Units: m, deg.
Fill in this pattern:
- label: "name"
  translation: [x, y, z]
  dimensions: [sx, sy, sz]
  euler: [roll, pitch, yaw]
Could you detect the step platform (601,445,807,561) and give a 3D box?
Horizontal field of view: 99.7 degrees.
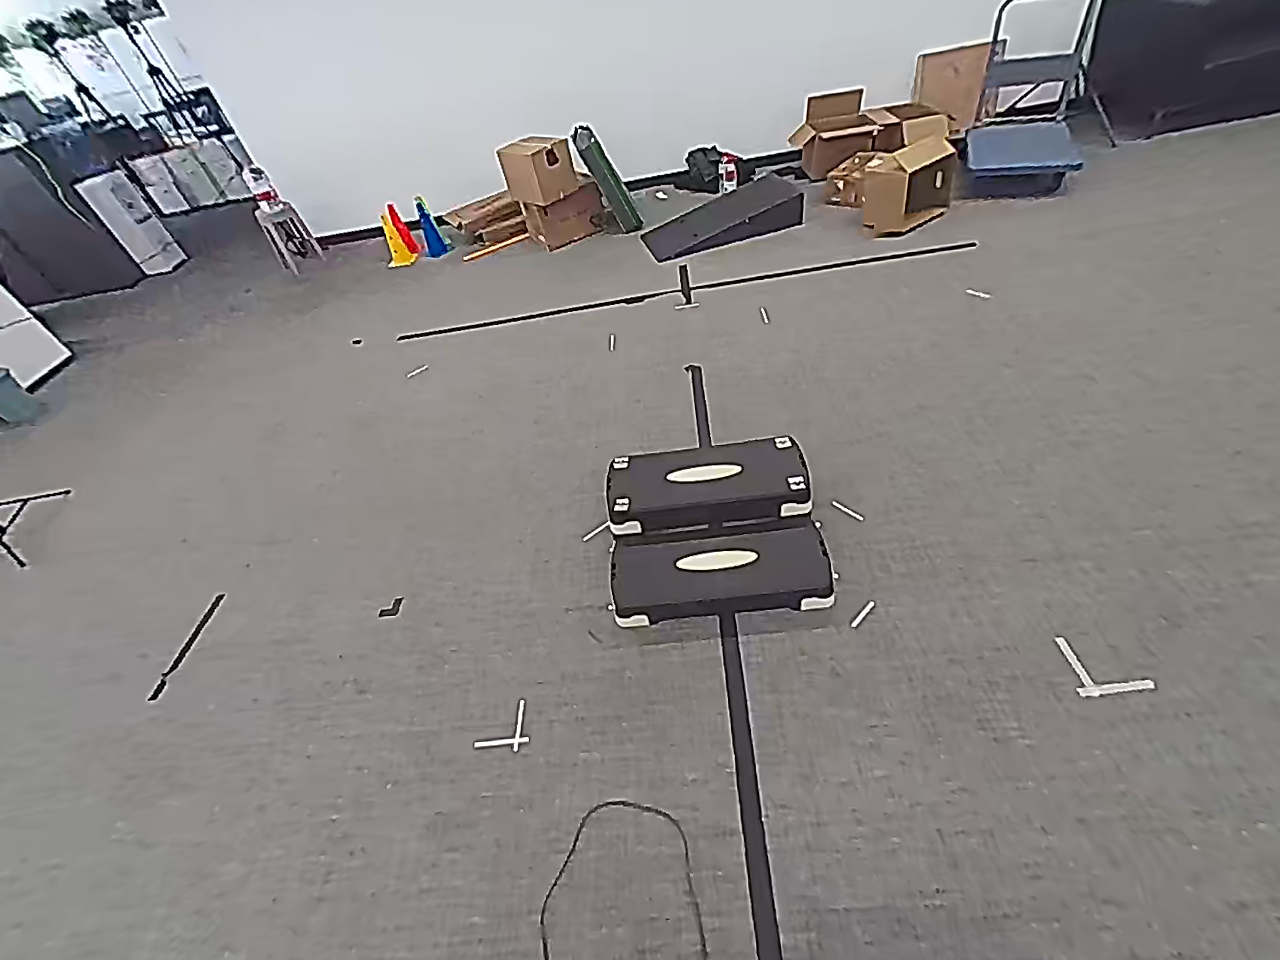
- label: "step platform"
  translation: [0.209, 0.072, 1.842]
  dimensions: [0.684, 0.204, 0.286]
  euler: [-7, 45, 5]
